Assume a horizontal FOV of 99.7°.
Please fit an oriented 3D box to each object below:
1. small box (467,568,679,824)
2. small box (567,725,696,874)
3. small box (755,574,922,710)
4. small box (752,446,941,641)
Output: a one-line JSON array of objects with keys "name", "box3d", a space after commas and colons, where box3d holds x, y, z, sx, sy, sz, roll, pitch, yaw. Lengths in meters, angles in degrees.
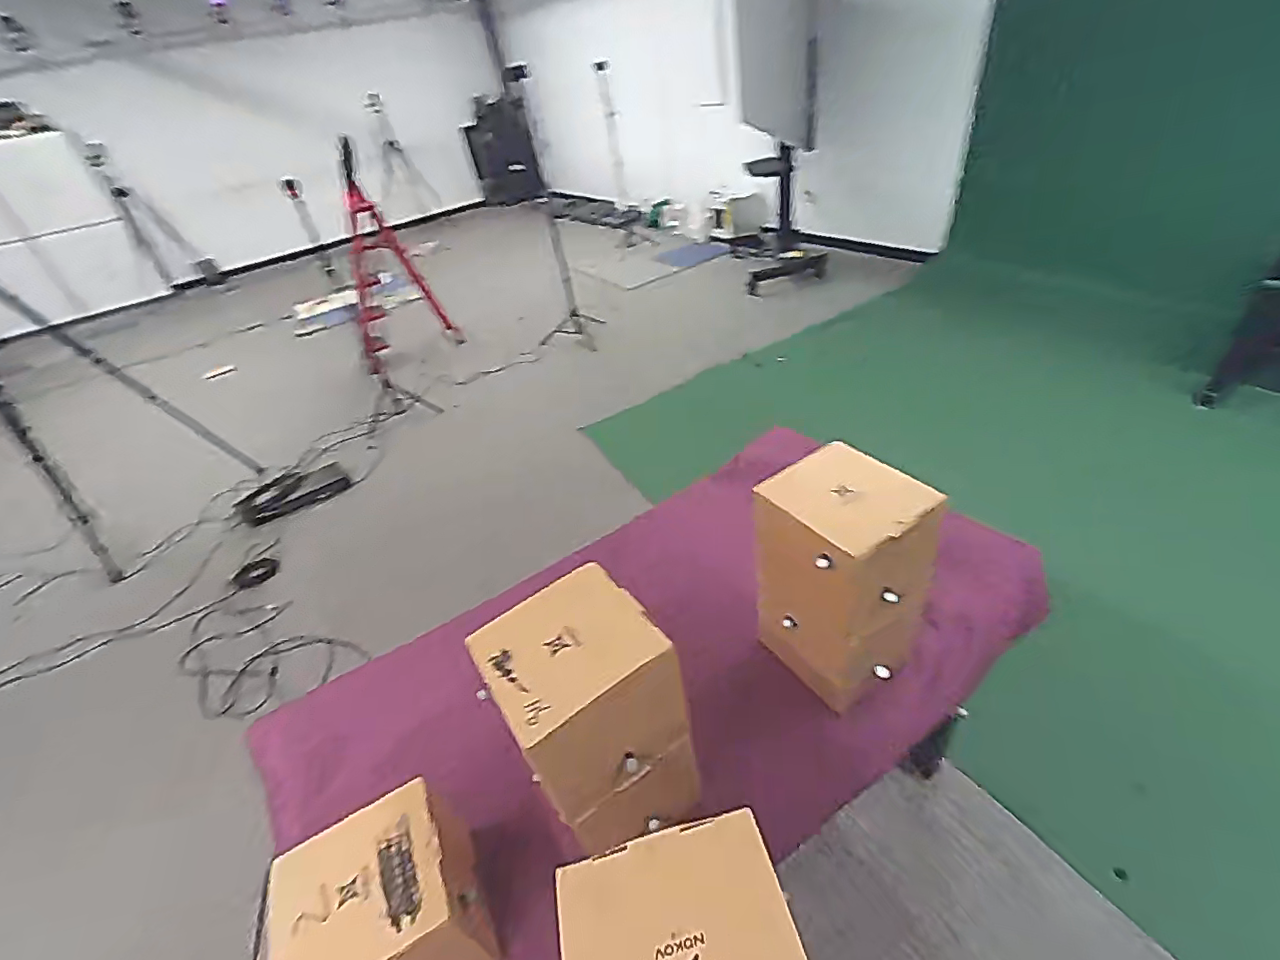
[{"name": "small box", "box3d": [-0.069, 0.242, 0.624, 0.179, 0.176, 0.168, -28, 38, -23]}, {"name": "small box", "box3d": [-0.044, 0.370, 0.723, 0.168, 0.176, 0.179, -29, 40, -22]}, {"name": "small box", "box3d": [0.299, 0.215, 0.844, 0.168, 0.176, 0.179, -28, 40, -21]}, {"name": "small box", "box3d": [0.273, 0.085, 0.751, 0.168, 0.176, 0.179, -28, 41, -21]}]
